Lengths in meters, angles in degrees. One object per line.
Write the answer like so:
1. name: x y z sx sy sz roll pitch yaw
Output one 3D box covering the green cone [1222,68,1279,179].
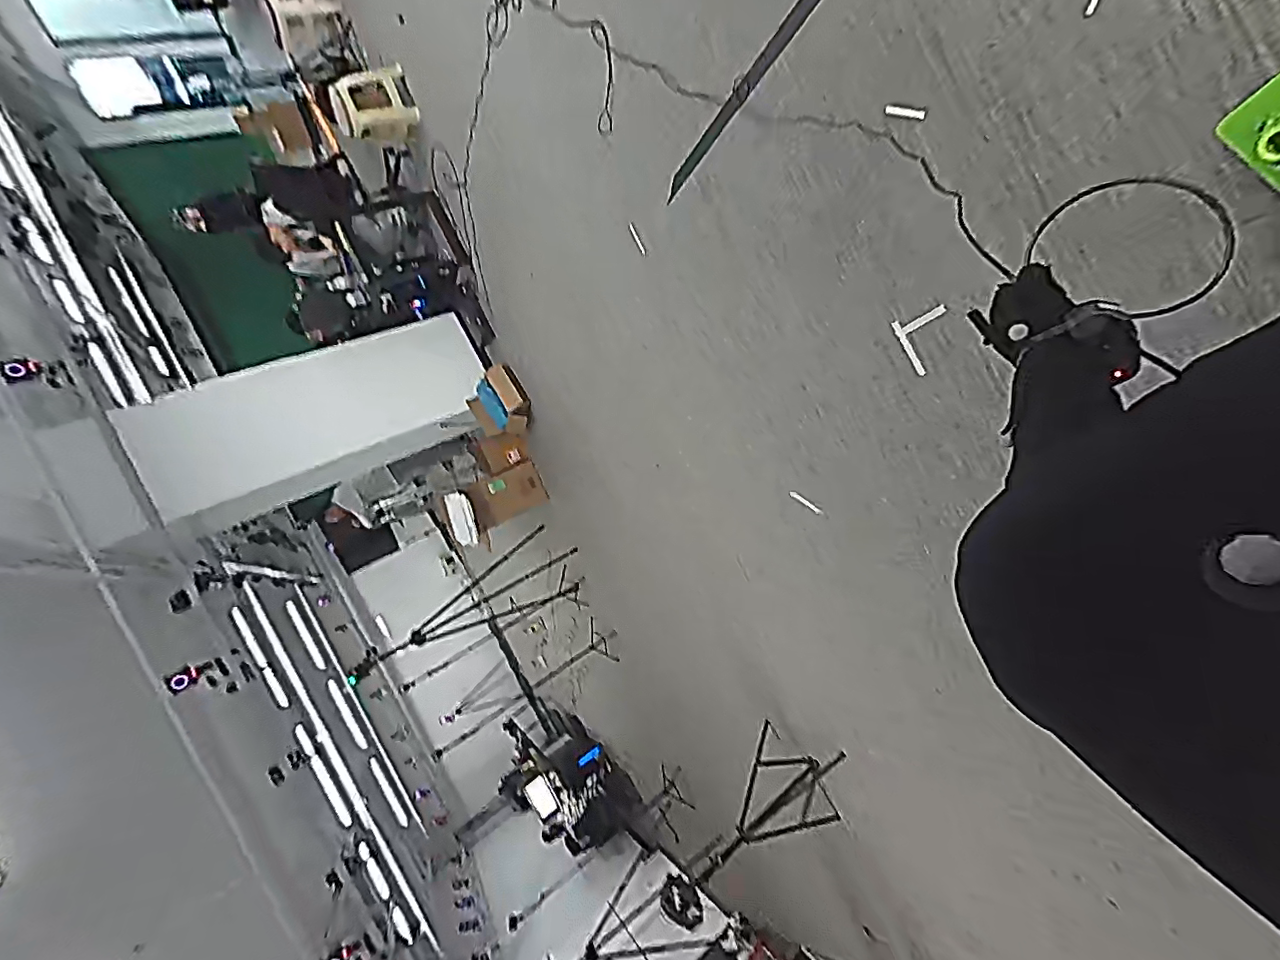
1. green cone: 0.926 -0.502 0.745 0.200 0.368 0.202 57 155 13
